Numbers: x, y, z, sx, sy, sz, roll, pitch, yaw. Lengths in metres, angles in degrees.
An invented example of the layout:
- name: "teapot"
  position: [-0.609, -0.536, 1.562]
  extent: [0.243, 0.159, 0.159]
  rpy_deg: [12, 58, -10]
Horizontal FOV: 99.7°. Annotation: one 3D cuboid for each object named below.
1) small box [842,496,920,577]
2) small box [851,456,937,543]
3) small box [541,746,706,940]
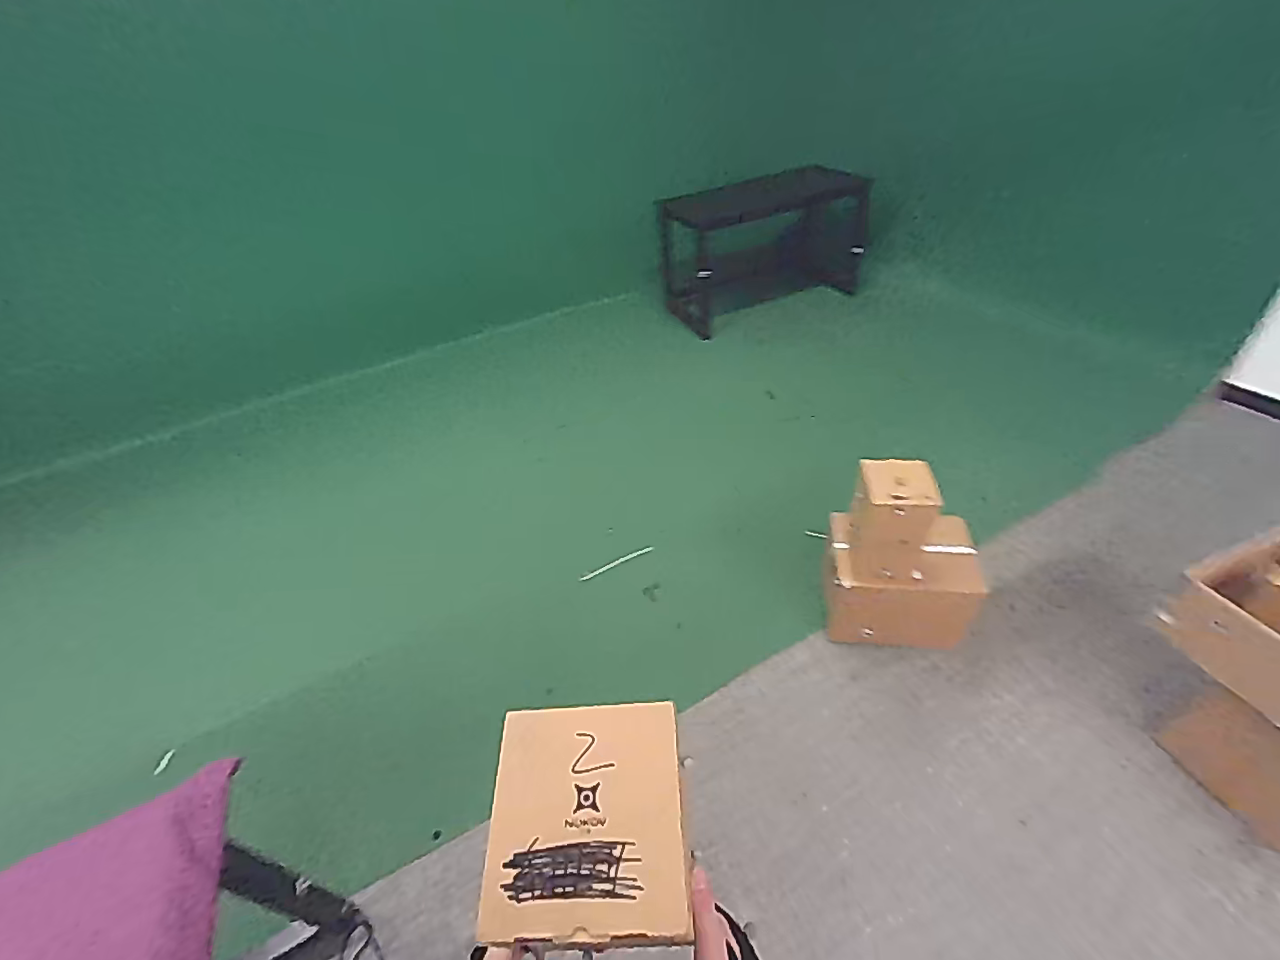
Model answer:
- name: "small box"
  position: [0.707, 0.166, 1.608]
  extent: [0.168, 0.176, 0.179]
  rpy_deg: [1, 43, 10]
- name: "small box"
  position: [0.690, 0.052, 1.491]
  extent: [0.168, 0.176, 0.179]
  rpy_deg: [1, 42, 9]
- name: "small box"
  position: [-0.010, 0.438, 0.650]
  extent: [0.168, 0.176, 0.179]
  rpy_deg: [-4, 48, 4]
